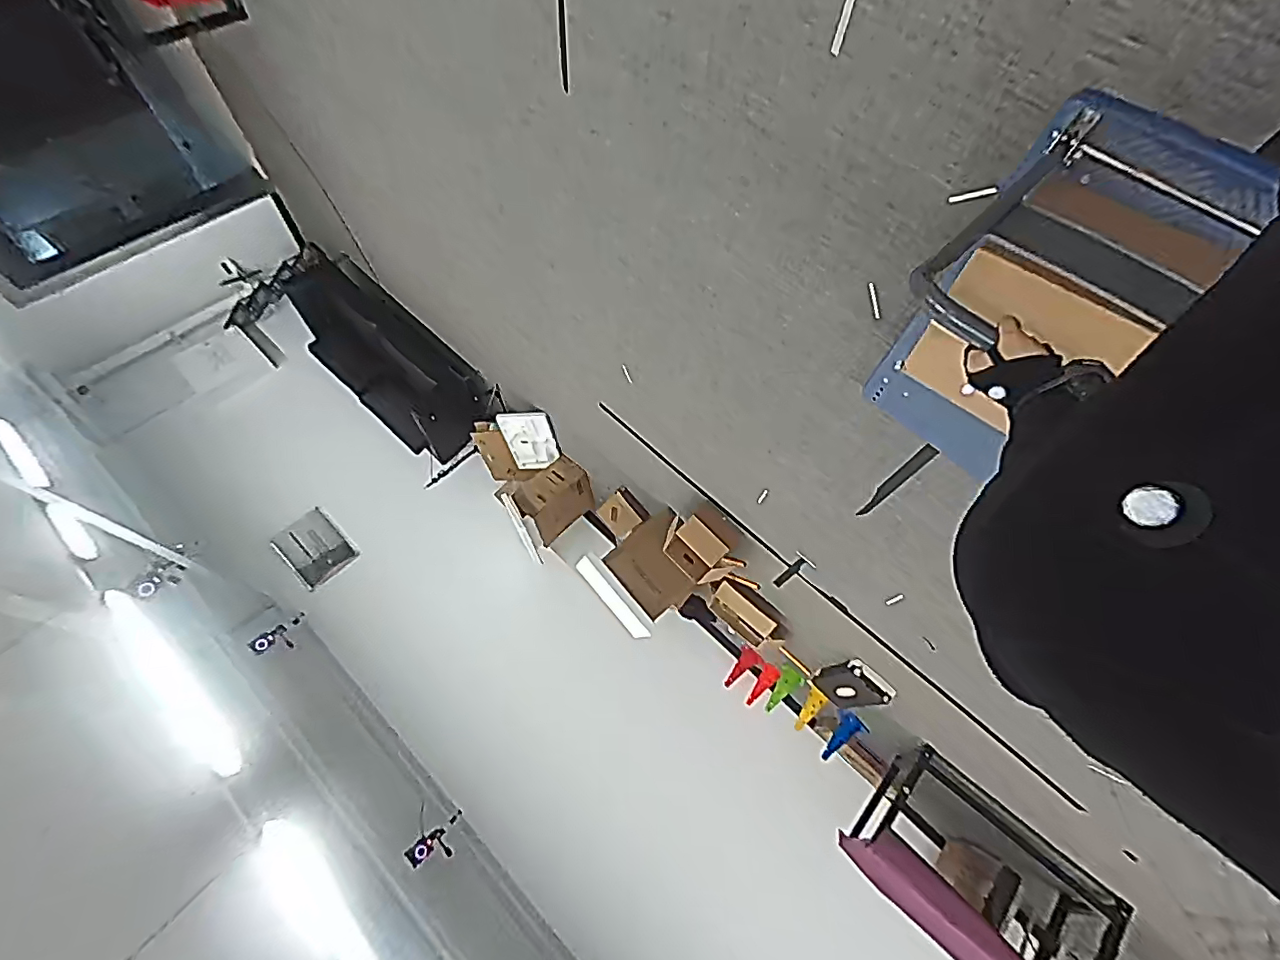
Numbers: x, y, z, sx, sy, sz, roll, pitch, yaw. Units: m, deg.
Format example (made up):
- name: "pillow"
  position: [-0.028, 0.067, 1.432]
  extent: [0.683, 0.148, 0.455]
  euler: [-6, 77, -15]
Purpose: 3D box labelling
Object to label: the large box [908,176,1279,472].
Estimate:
- name: "large box"
  position: [0.829, -0.297, 1.031]
  extent: [0.408, 0.320, 0.320]
  euler: [40, 156, 20]
